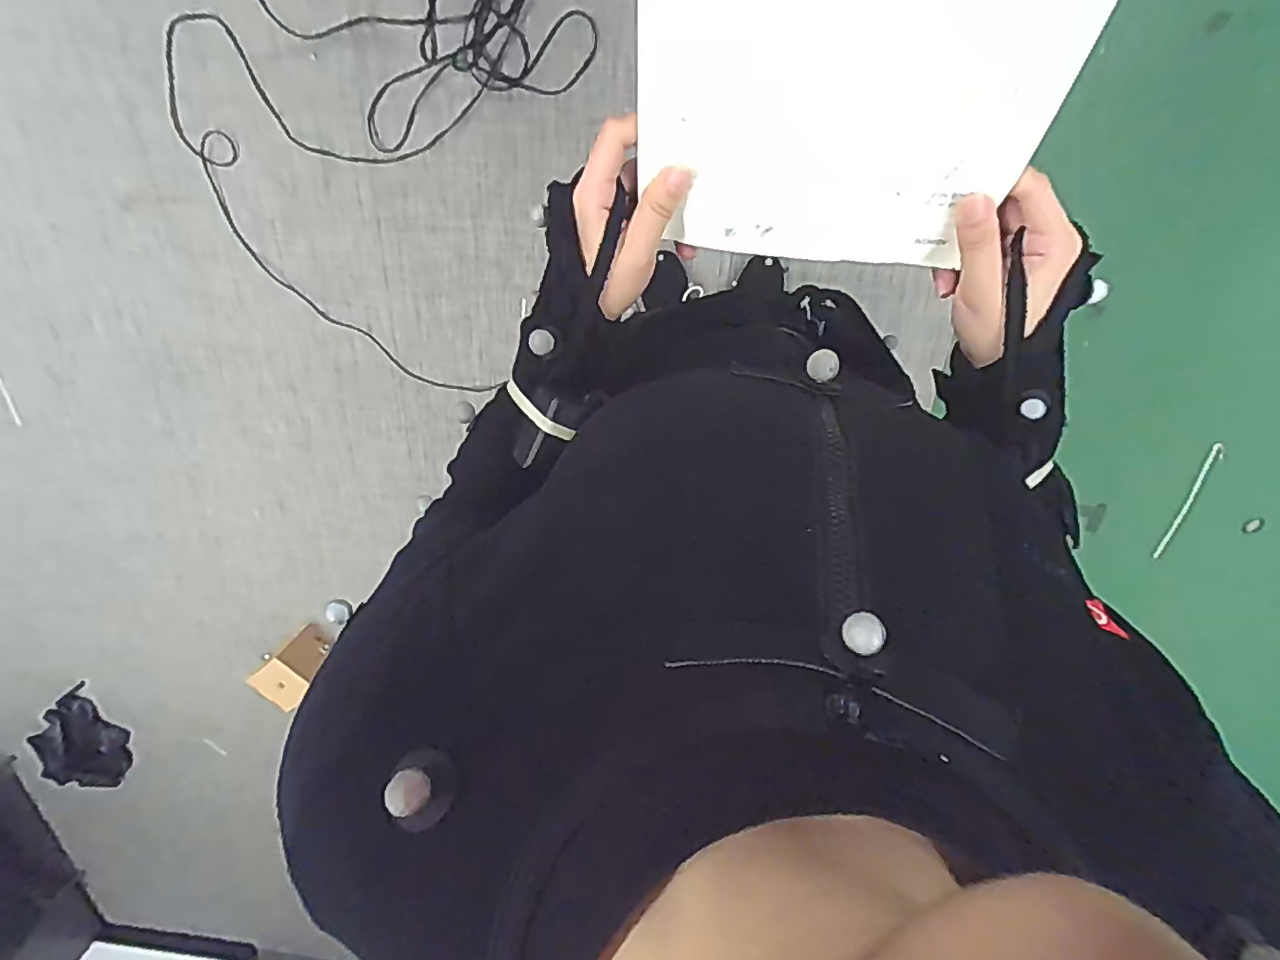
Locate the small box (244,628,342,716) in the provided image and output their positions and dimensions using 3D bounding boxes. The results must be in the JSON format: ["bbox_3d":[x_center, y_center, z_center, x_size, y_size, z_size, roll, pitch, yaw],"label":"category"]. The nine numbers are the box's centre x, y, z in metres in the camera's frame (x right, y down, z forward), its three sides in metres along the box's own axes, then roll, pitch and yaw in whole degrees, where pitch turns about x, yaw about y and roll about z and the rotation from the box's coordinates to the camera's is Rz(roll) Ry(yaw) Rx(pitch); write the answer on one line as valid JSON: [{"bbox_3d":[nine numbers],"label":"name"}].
[{"bbox_3d":[-1.115,0.619,1.750,0.179,0.176,0.168,-36,107,19],"label":"small box"}]
